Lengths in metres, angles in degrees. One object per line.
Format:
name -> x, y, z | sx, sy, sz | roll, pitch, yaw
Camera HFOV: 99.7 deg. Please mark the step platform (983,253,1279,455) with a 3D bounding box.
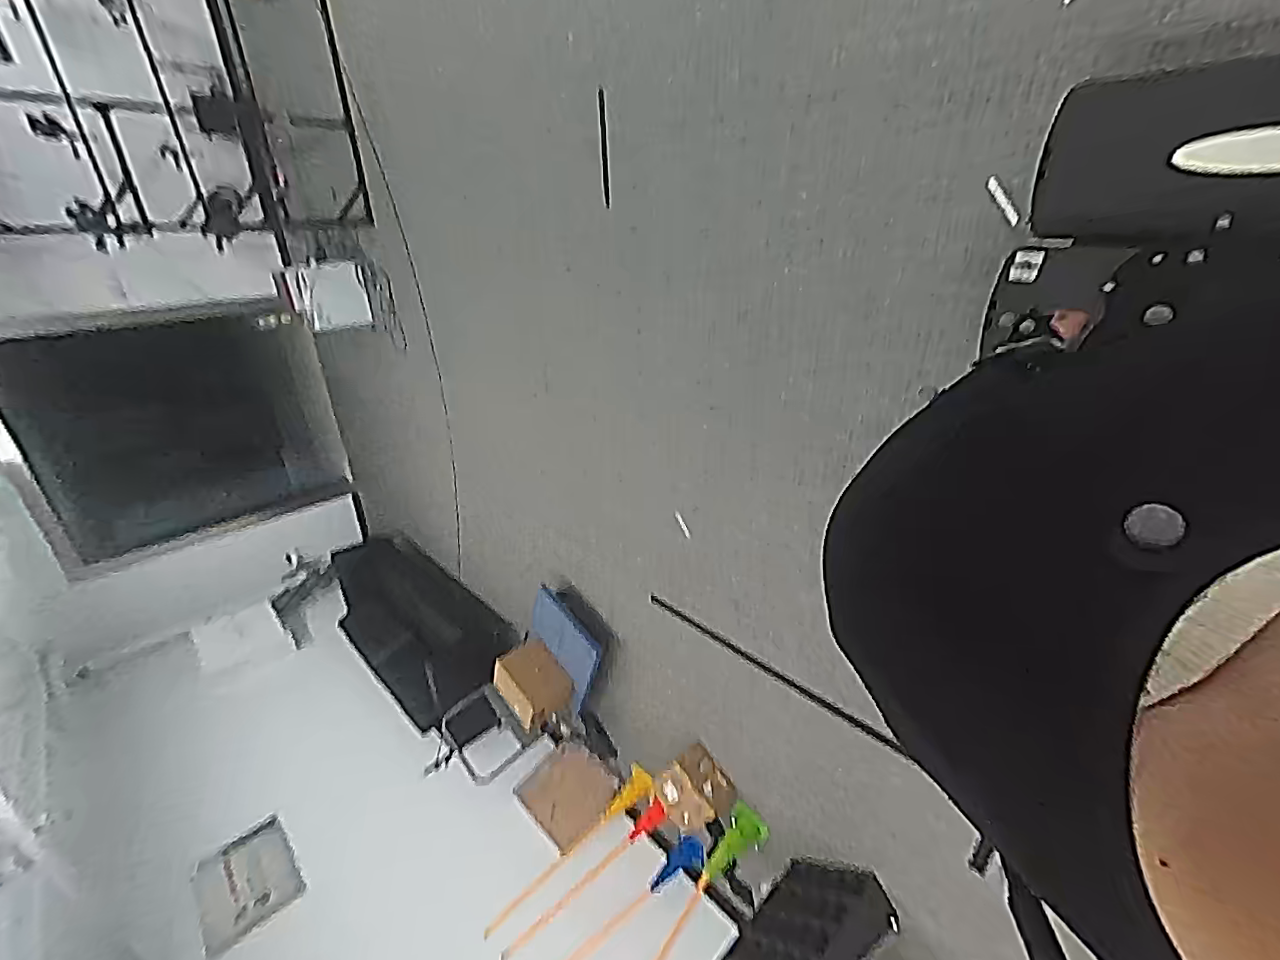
step platform -> 1.063, -0.246, 1.027 | 0.684, 0.204, 0.286 | 29, 127, 40
